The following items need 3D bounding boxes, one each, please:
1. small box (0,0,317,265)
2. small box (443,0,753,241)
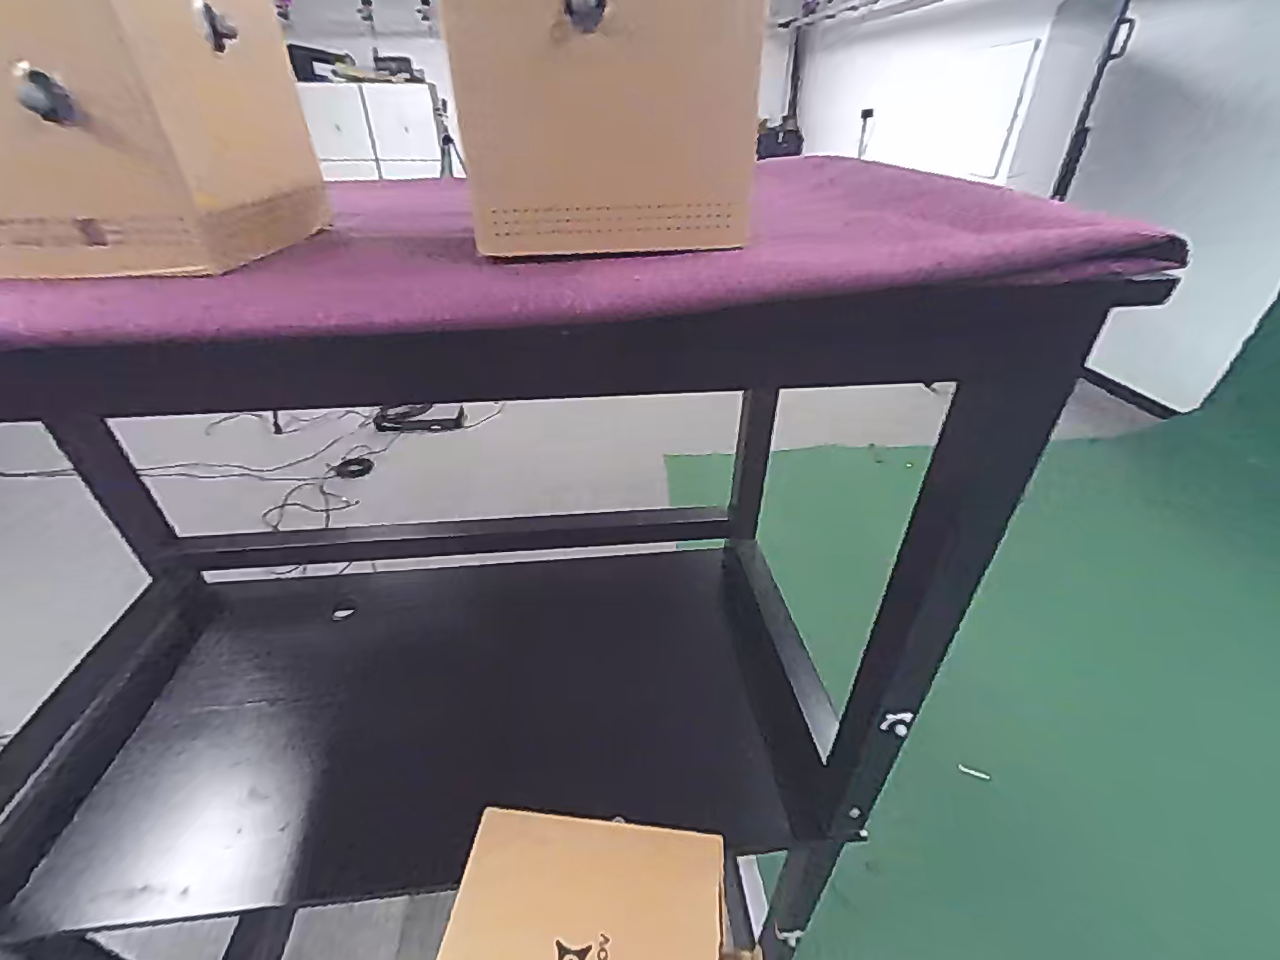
[{"bbox_3d":[-0.336,-0.237,0.336,0.168,0.176,0.179,-2,34,-4],"label":"small box"},{"bbox_3d":[-0.027,-0.264,0.368,0.179,0.176,0.168,-4,32,-5],"label":"small box"}]
